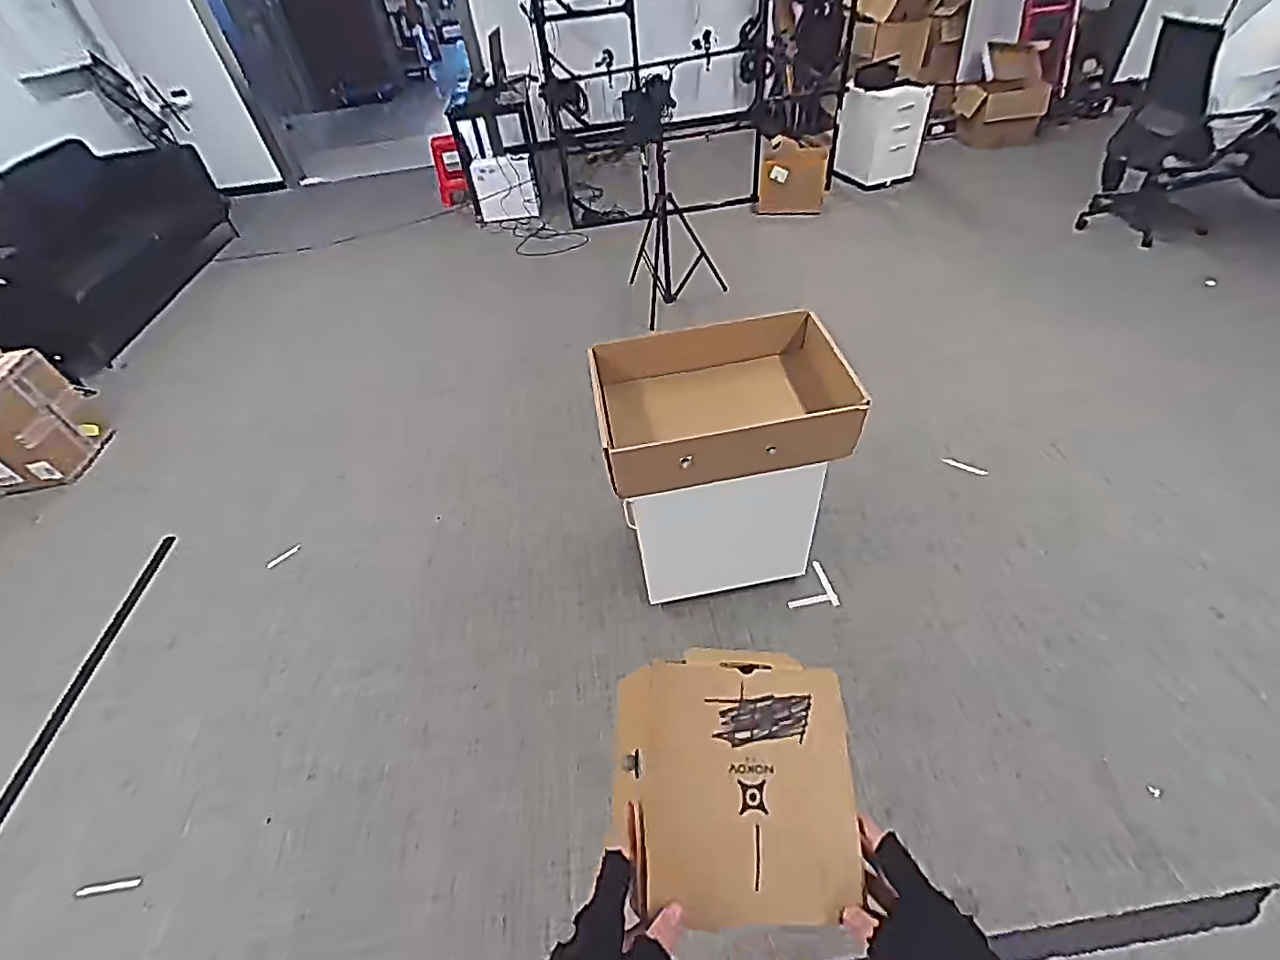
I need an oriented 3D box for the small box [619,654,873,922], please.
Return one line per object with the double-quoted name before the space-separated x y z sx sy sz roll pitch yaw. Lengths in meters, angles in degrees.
"small box" 0.073 0.260 0.483 0.168 0.176 0.179 4 64 -9
